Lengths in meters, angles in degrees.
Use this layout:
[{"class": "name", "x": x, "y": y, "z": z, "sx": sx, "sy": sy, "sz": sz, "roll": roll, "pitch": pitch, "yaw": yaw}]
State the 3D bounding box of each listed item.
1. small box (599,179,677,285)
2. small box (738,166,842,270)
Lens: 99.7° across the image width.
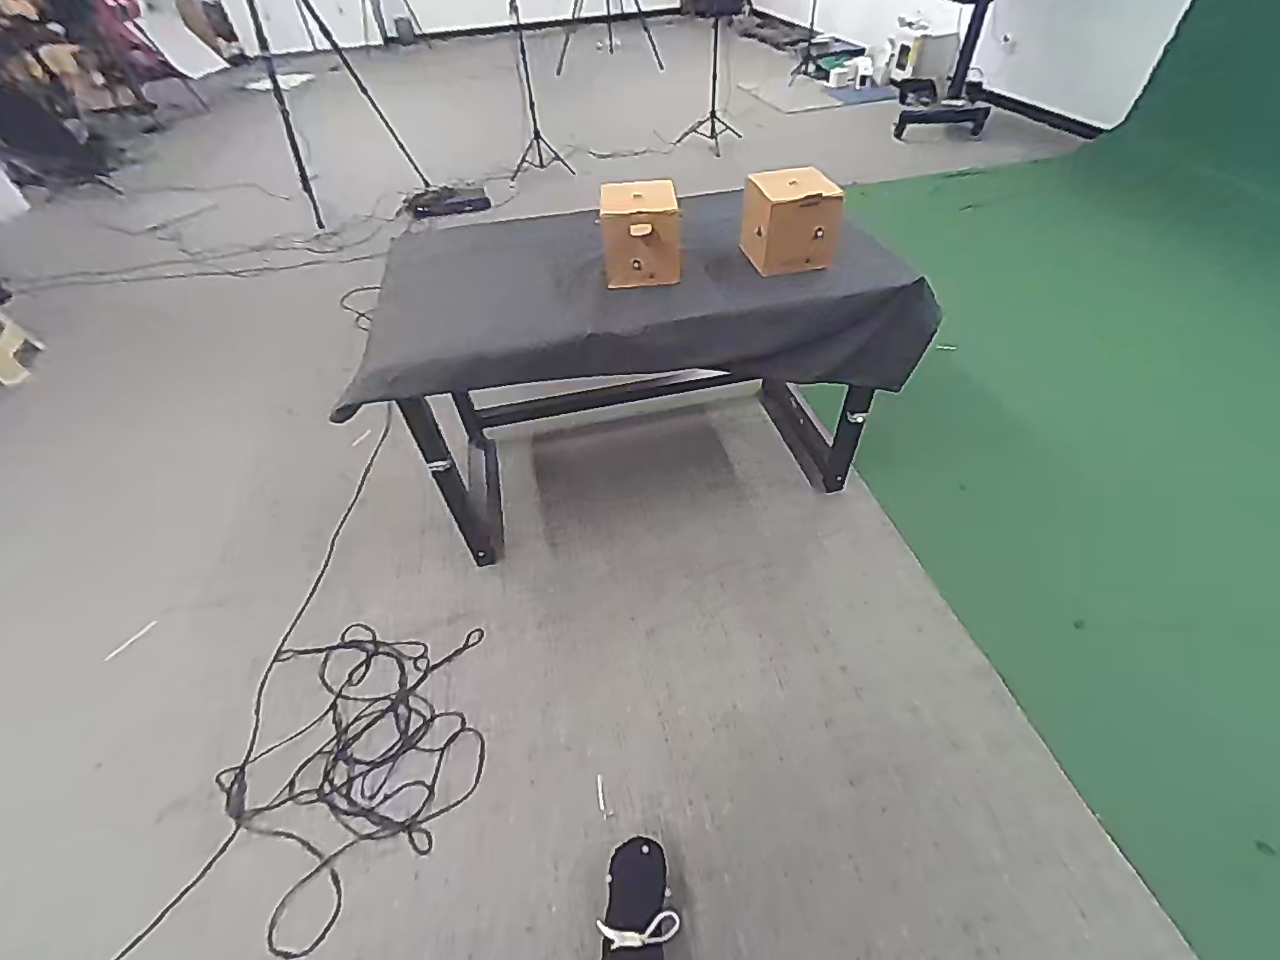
[{"class": "small box", "x": -0.006, "y": -0.564, "z": 1.233, "sx": 0.168, "sy": 0.176, "sz": 0.179, "roll": -4, "pitch": 47, "yaw": -1}, {"class": "small box", "x": 0.334, "y": -0.594, "z": 1.239, "sx": 0.168, "sy": 0.176, "sz": 0.179, "roll": -10, "pitch": 46, "yaw": -7}]
